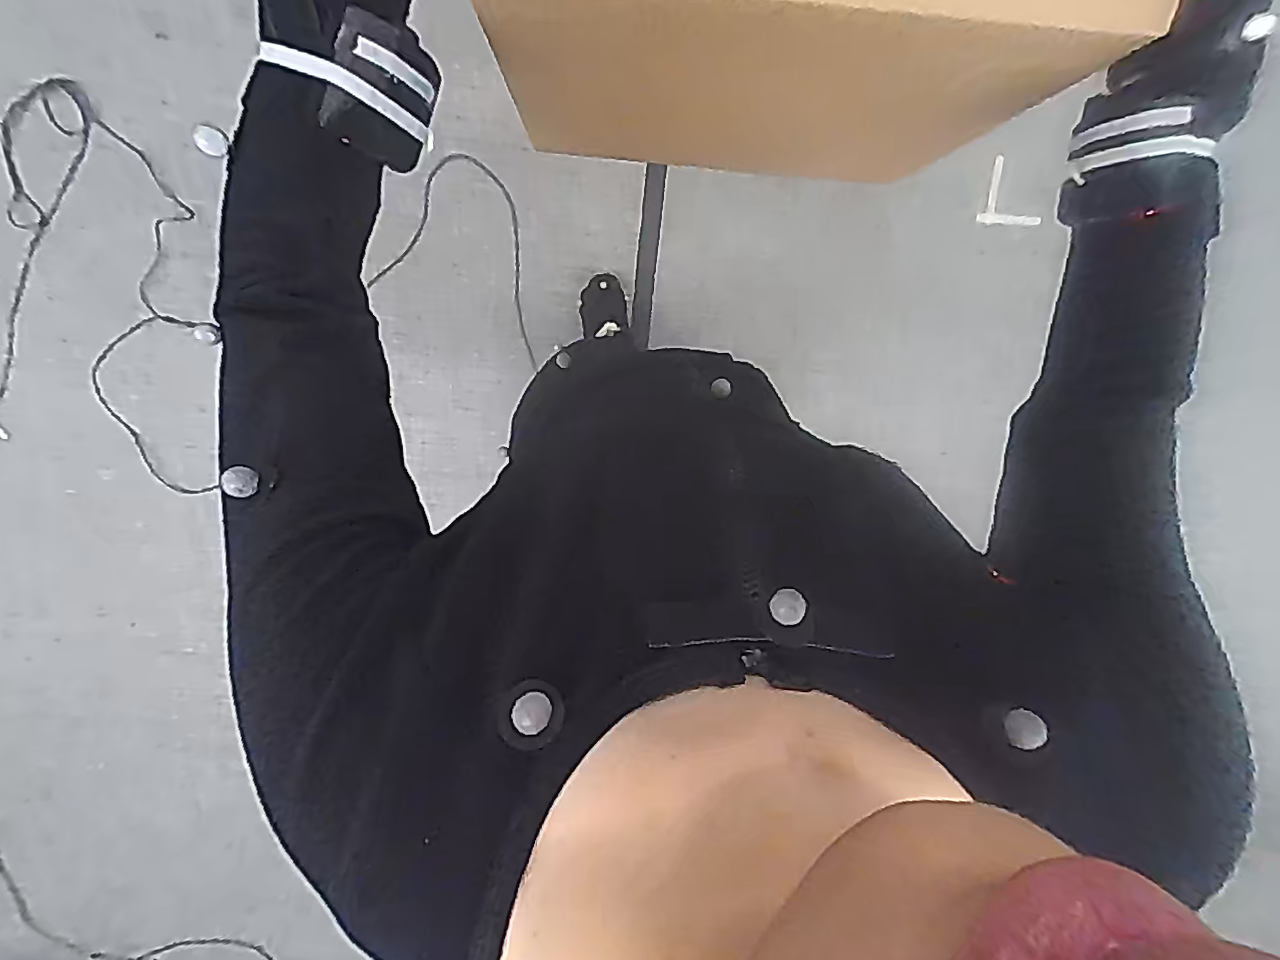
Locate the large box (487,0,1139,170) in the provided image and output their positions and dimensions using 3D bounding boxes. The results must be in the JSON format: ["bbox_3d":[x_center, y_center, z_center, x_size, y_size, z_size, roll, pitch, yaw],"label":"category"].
[{"bbox_3d":[0.097,-0.465,0.418,0.408,0.320,0.320,2,105,-4],"label":"large box"}]
